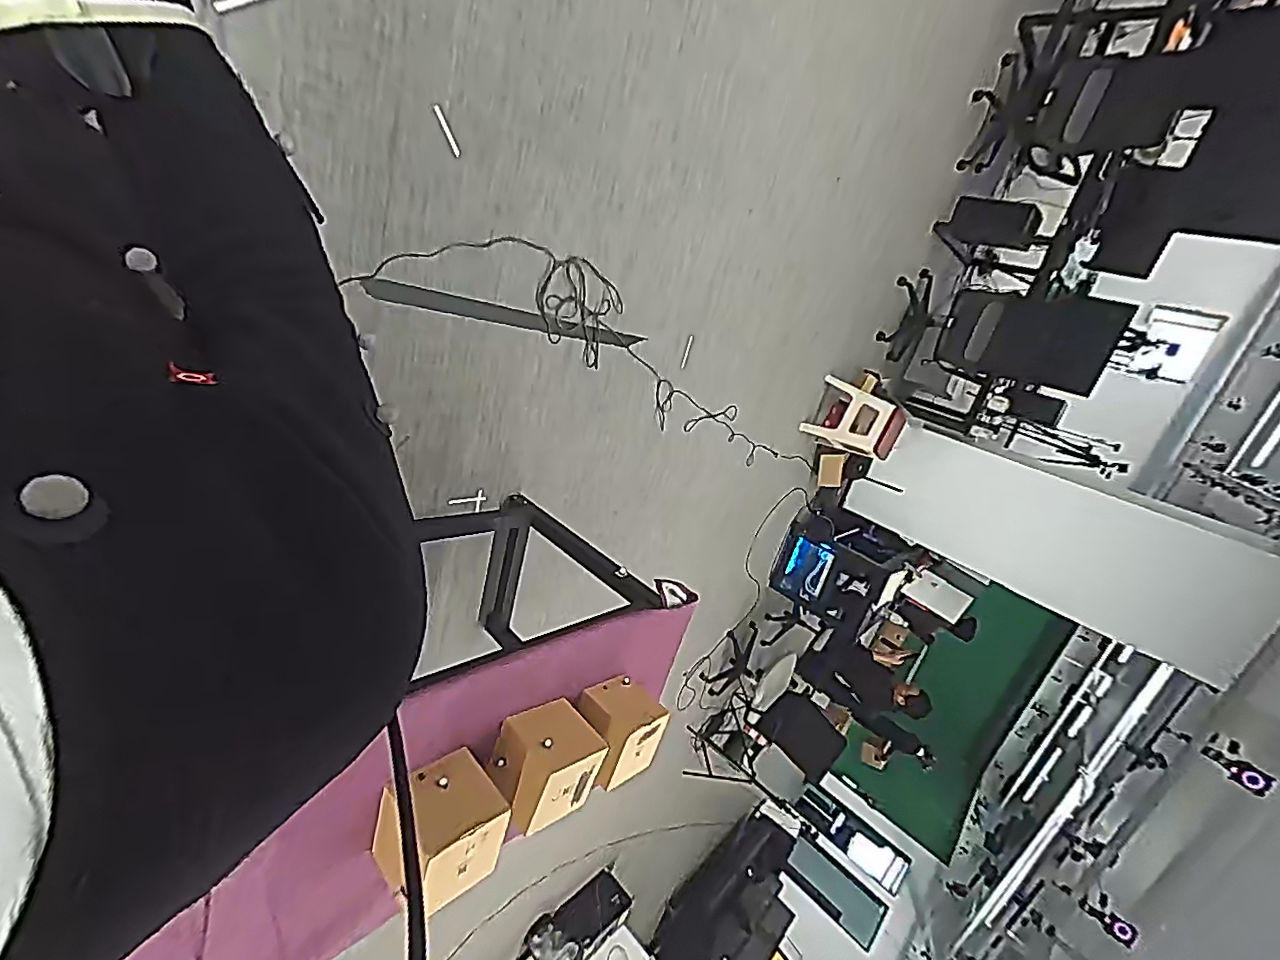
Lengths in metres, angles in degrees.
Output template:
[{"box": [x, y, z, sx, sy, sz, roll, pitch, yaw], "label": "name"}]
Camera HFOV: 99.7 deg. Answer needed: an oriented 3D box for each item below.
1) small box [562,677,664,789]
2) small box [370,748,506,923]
[{"box": [-0.073, 0.625, 1.370, 0.168, 0.176, 0.179, 3, 112, -51], "label": "small box"}, {"box": [-0.380, 0.646, 1.005, 0.168, 0.176, 0.179, -5, 118, -50], "label": "small box"}]
